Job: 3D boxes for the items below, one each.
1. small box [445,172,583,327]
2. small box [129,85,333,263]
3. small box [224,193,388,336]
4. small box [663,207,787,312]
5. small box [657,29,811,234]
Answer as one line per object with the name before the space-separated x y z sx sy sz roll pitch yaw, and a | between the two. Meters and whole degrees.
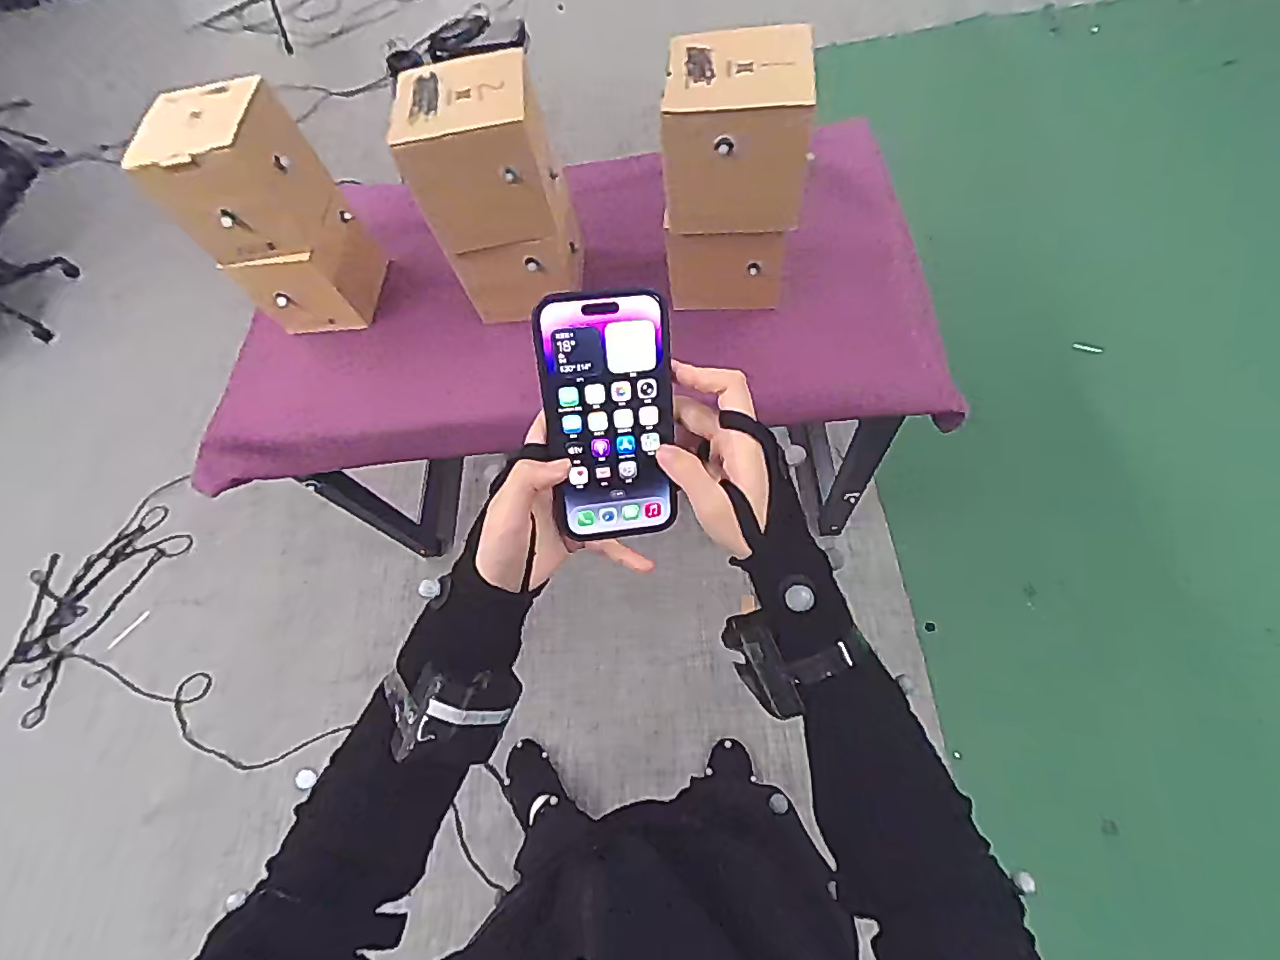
small box | -0.199 -0.382 0.914 0.179 0.176 0.168 -3 63 7
small box | -0.608 -0.457 0.833 0.168 0.176 0.179 -7 63 5
small box | -0.585 -0.377 0.975 0.168 0.176 0.179 -3 63 8
small box | 0.139 -0.388 0.866 0.179 0.176 0.168 2 64 11
small box | 0.124 -0.448 0.714 0.179 0.176 0.168 2 64 9
